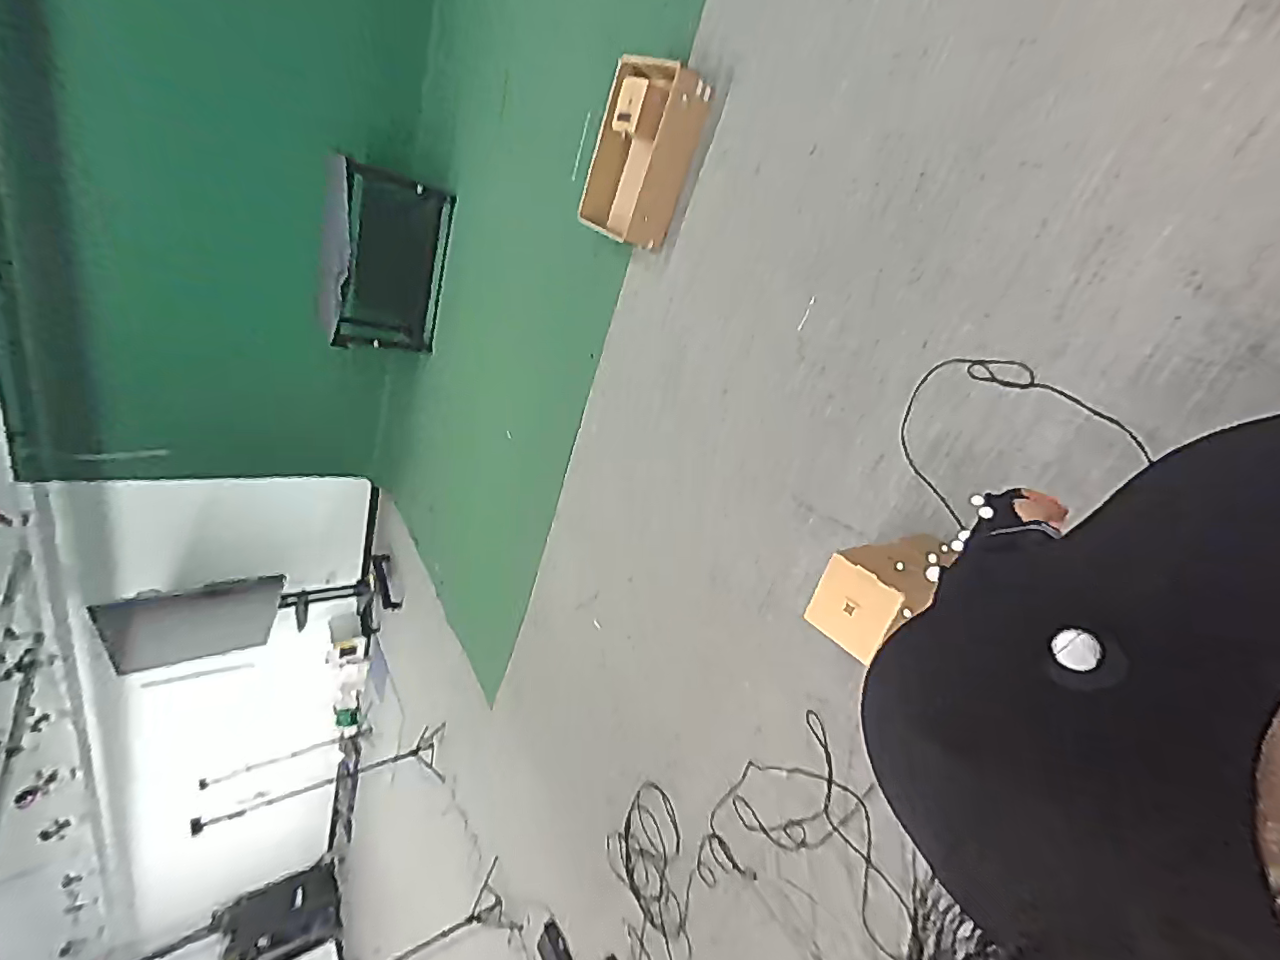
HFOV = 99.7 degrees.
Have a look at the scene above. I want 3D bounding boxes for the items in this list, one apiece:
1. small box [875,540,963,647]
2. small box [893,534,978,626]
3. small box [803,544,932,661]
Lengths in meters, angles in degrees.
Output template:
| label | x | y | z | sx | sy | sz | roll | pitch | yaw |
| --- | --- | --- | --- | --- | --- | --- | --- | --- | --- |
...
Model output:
| label | x | y | z | sx | sy | sz | roll | pitch | yaw |
| --- | --- | --- | --- | --- | --- | --- | --- | --- | --- |
| small box | 0.618 | 0.259 | 1.268 | 0.168 | 0.176 | 0.179 | 38 | 118 | 42 |
| small box | 0.732 | 0.251 | 1.386 | 0.168 | 0.176 | 0.179 | 34 | 117 | 45 |
| small box | 0.492 | 0.255 | 1.165 | 0.168 | 0.176 | 0.179 | 37 | 117 | 43 |
